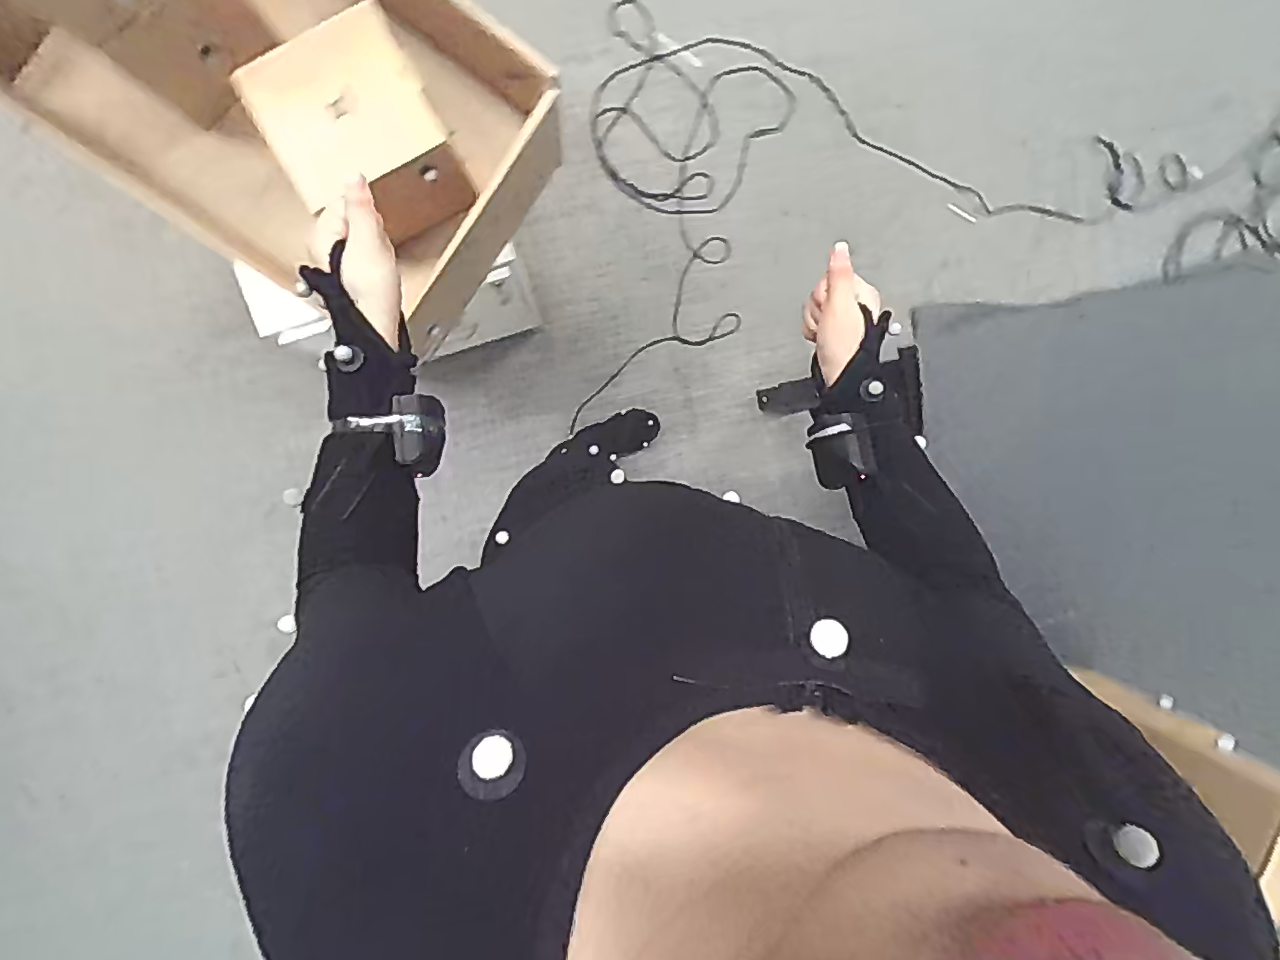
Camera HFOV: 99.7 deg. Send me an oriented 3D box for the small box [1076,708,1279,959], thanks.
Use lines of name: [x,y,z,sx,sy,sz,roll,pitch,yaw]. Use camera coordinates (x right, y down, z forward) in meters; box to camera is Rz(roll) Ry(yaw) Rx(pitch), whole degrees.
small box: [0.644,0.393,0.601,0.168,0.176,0.179,21,92,-8]
